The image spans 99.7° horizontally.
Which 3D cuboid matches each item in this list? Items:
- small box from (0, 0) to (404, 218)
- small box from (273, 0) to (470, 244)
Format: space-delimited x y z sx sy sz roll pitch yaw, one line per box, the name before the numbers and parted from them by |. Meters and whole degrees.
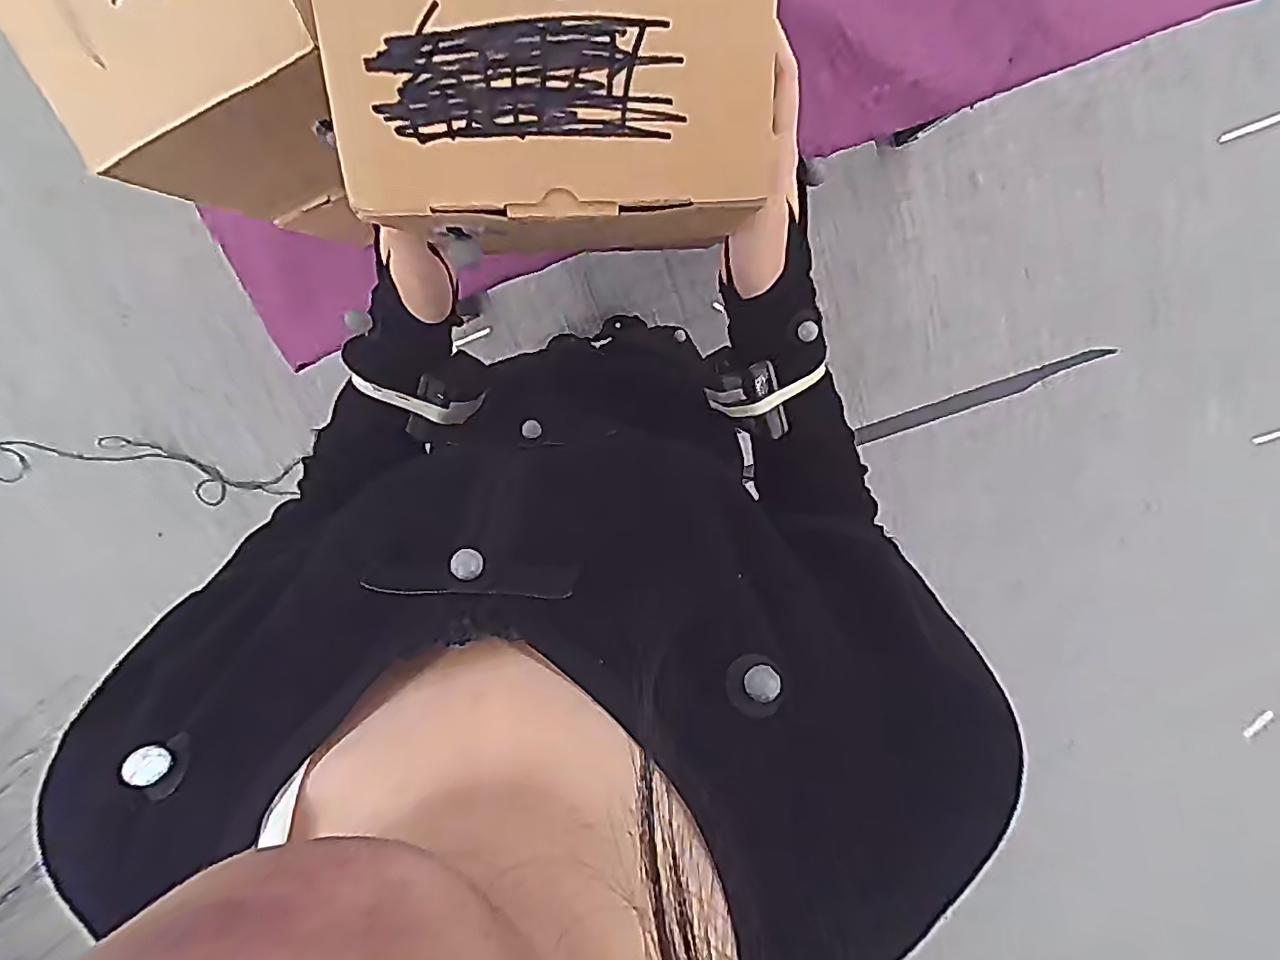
small box | -0.308 -0.326 0.405 0.179 0.176 0.168 -23 103 7
small box | -0.306 -0.371 0.561 0.168 0.176 0.179 -22 105 7
